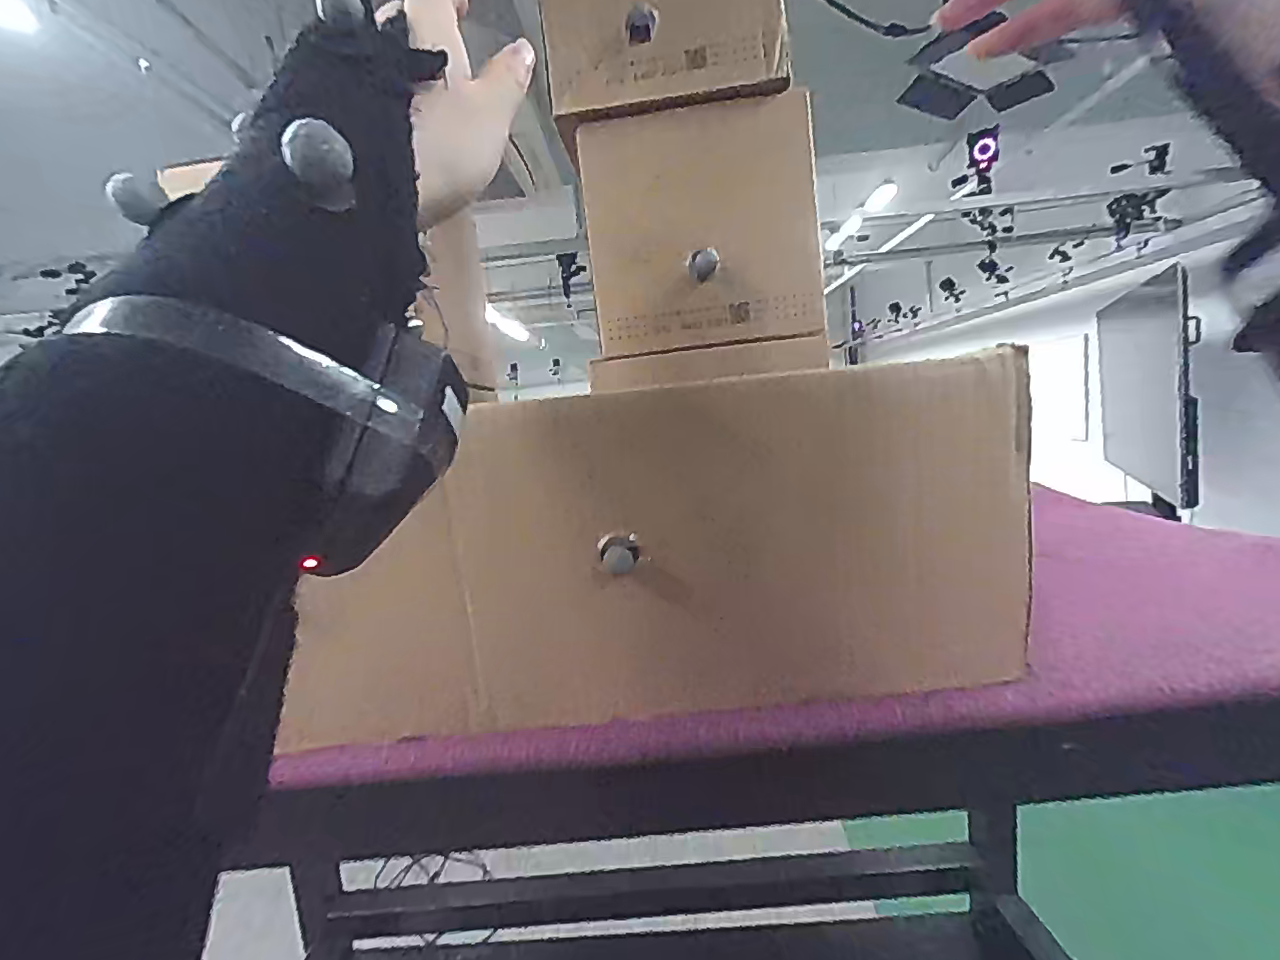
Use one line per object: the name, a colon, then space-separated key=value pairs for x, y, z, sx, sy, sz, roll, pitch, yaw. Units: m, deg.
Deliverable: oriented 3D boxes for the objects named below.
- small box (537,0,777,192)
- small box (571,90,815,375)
small box: x=0.013 y=-0.346 z=0.448 sx=0.168 sy=0.176 sz=0.179 roll=-6 pitch=6 yaw=5
small box: x=0.044 y=-0.187 z=0.469 sx=0.168 sy=0.176 sz=0.179 roll=-7 pitch=6 yaw=4
